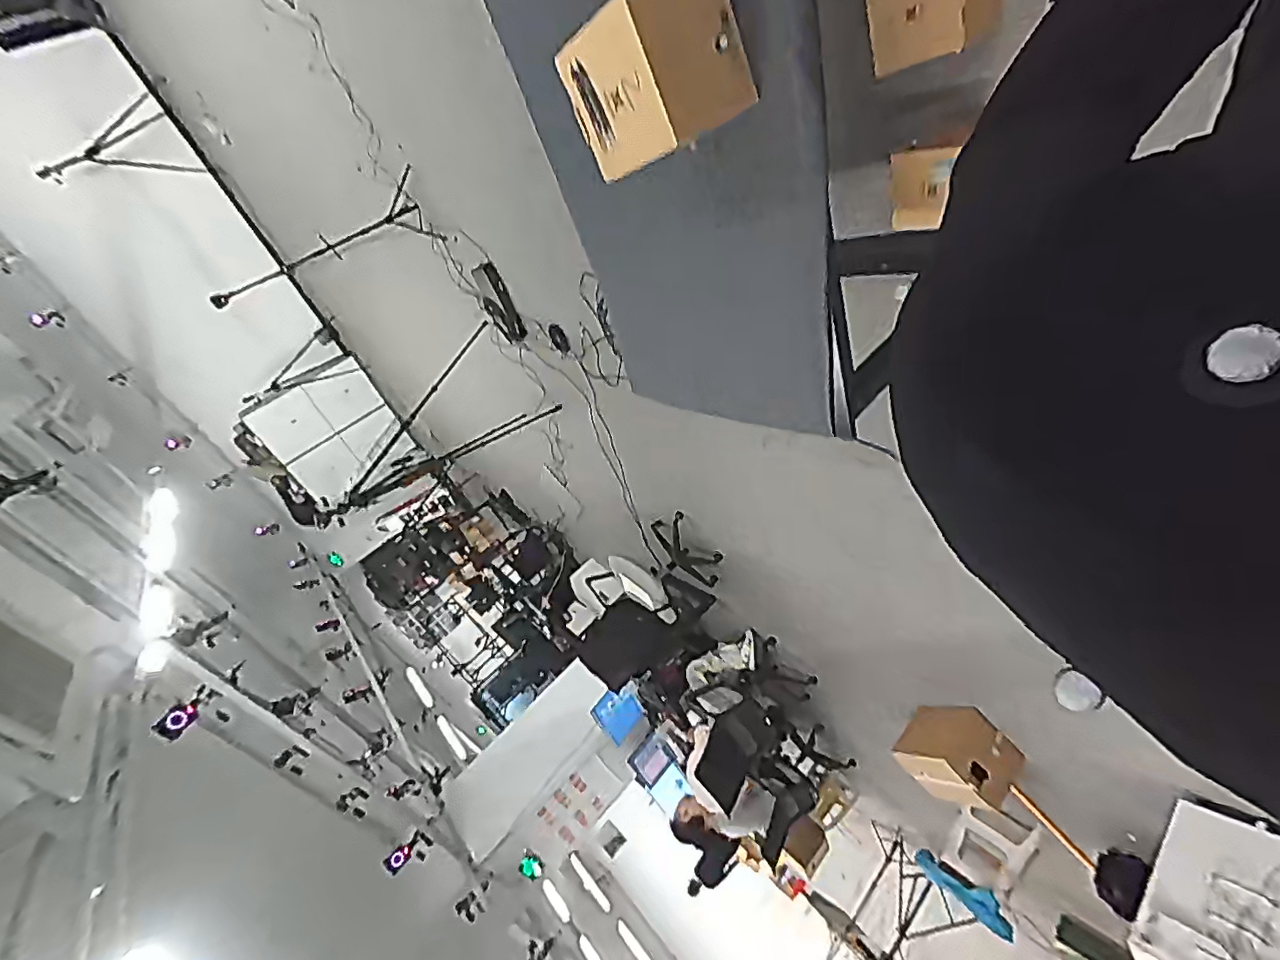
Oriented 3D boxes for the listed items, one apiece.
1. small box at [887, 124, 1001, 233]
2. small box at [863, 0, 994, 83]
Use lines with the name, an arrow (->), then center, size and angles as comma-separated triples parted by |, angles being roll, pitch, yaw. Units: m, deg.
small box -> 0.685, -0.678, 1.221 | 0.179, 0.176, 0.168 | 25, 148, 43
small box -> 0.566, -0.919, 1.052 | 0.179, 0.176, 0.168 | 20, 143, 49
